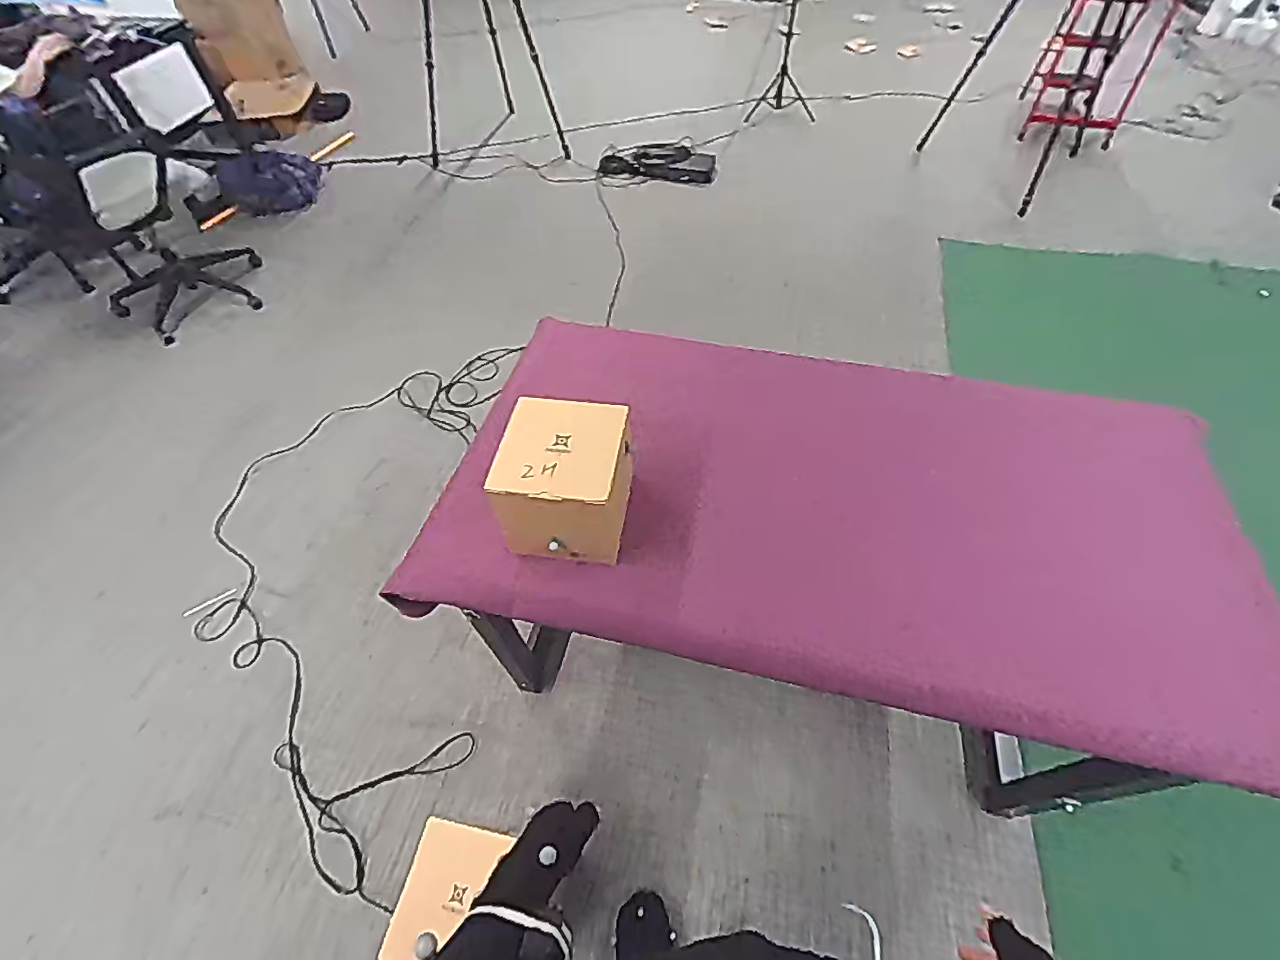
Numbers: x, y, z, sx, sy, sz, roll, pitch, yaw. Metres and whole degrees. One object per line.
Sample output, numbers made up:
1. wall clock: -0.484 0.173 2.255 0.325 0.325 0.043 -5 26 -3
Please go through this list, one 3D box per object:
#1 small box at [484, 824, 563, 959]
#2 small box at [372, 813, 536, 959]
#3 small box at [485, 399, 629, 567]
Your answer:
1. small box: -0.265 0.833 1.106 0.168 0.176 0.179 11 56 10
2. small box: -0.270 0.641 0.840 0.168 0.176 0.179 9 57 8
3. small box: -0.111 0.006 0.810 0.168 0.176 0.179 7 53 6
